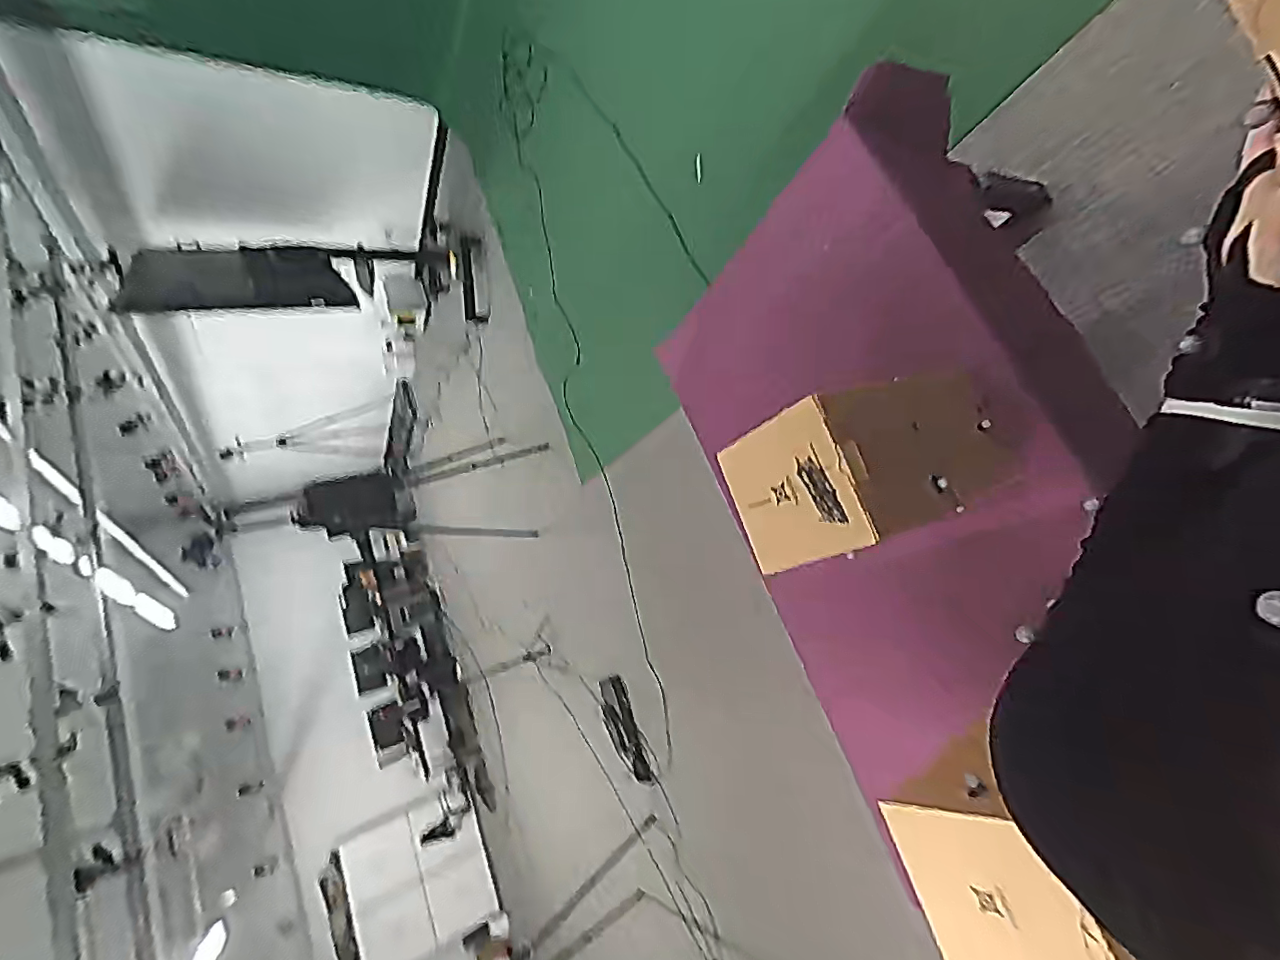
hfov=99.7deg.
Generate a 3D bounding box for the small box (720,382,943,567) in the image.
[{"bbox_3d":[0.237,-0.008,0.667,0.179,0.176,0.168,-37,70,56],"label":"small box"}]

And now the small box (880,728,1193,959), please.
[{"bbox_3d":[0.395,0.370,0.553,0.179,0.176,0.168,-39,67,54],"label":"small box"}]
